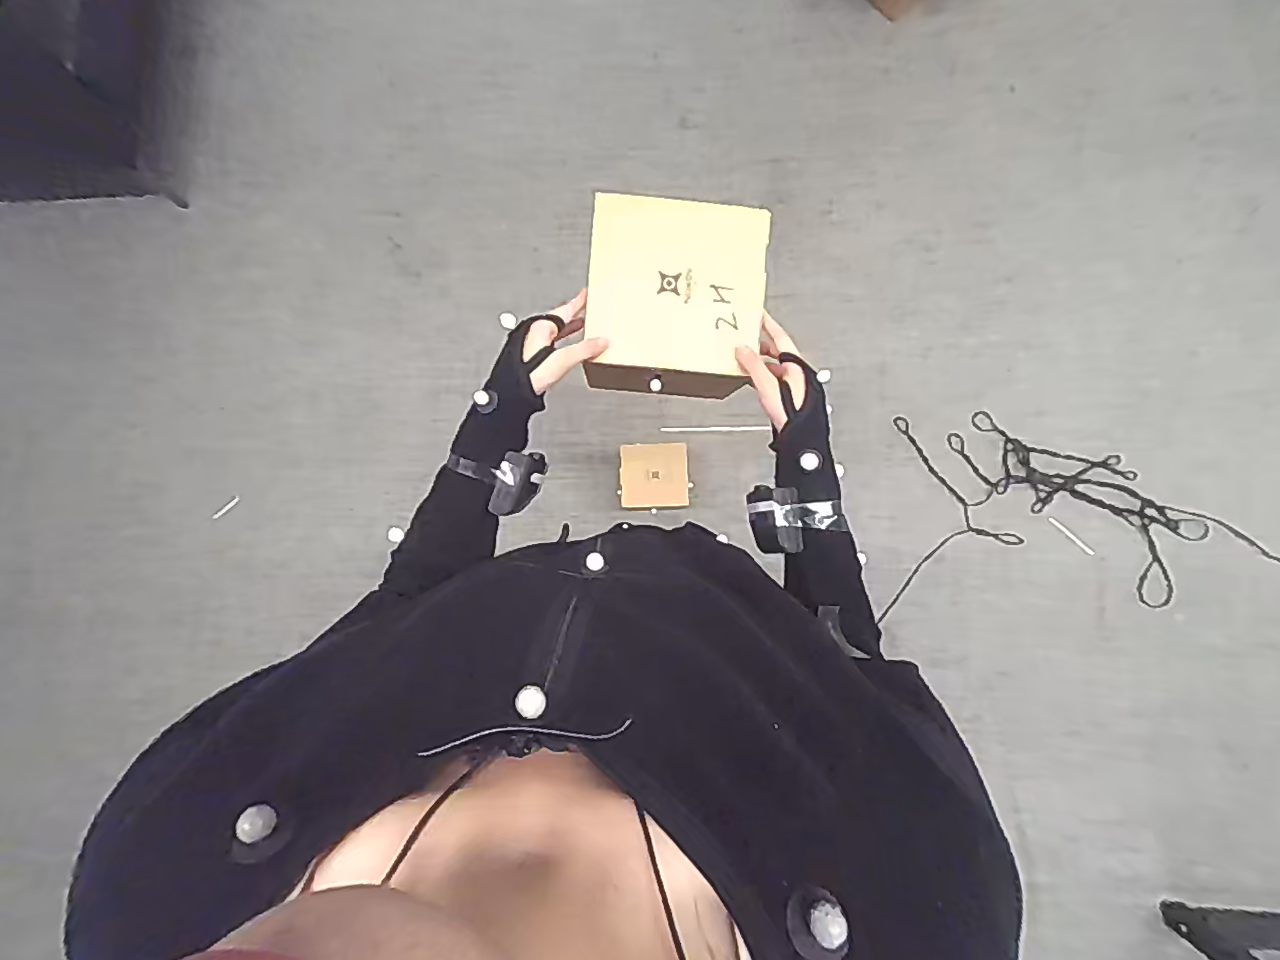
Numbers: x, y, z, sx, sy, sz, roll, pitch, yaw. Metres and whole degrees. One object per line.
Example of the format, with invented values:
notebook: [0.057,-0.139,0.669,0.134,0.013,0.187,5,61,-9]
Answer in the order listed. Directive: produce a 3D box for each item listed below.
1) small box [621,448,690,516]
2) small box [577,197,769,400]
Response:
small box: [0.045,0.011,1.455,0.179,0.176,0.168,-2,84,4]
small box: [0.030,-0.186,0.602,0.179,0.176,0.168,5,91,-3]
